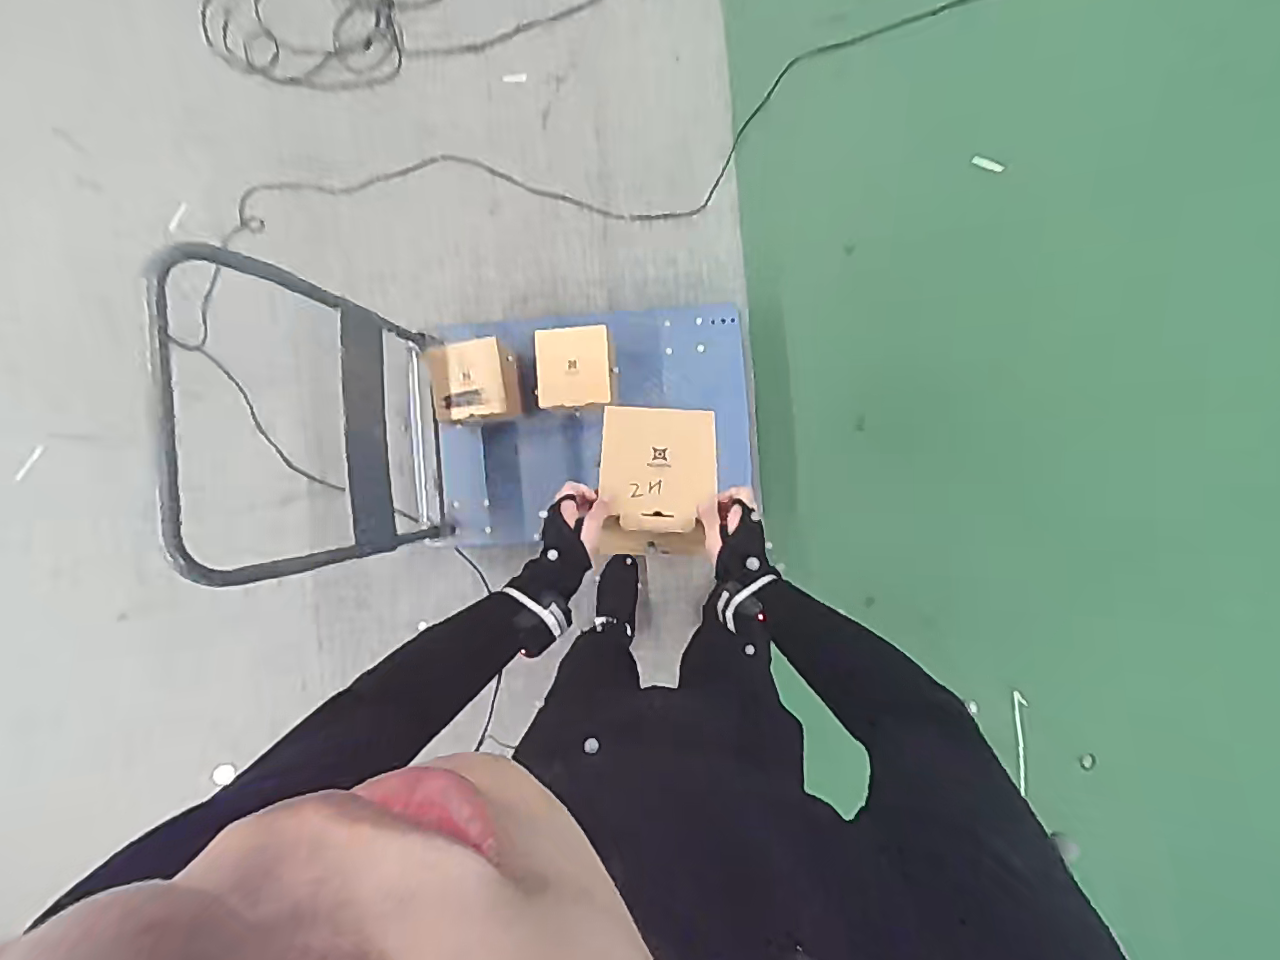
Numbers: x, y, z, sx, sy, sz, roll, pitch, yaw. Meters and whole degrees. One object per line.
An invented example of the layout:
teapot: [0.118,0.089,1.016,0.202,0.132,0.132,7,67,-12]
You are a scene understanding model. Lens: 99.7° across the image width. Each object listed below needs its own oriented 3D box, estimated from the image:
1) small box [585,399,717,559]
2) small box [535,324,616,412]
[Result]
small box: [0.016,0.004,0.823,0.168,0.176,0.179,8,66,3]
small box: [-0.149,-0.261,1.292,0.168,0.176,0.179,-3,92,3]
